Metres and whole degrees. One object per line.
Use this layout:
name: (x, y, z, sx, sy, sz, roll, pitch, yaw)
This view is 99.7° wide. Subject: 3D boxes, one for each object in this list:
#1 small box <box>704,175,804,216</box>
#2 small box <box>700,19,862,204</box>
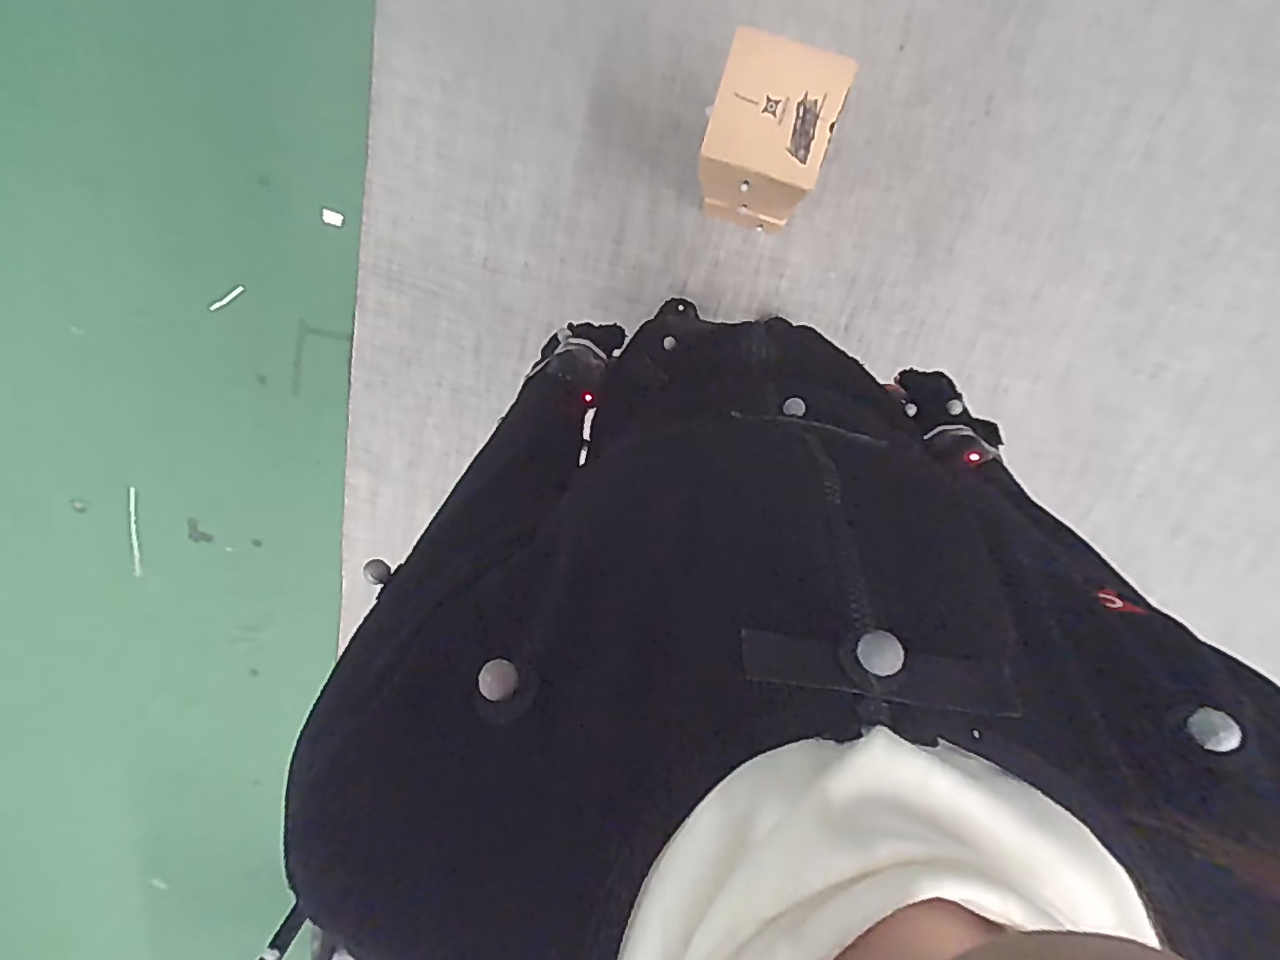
small box: (0.227, -0.600, 0.992, 0.179, 0.176, 0.168, 18, 109, 0)
small box: (0.203, -0.547, 0.835, 0.179, 0.176, 0.168, 21, 107, -1)
